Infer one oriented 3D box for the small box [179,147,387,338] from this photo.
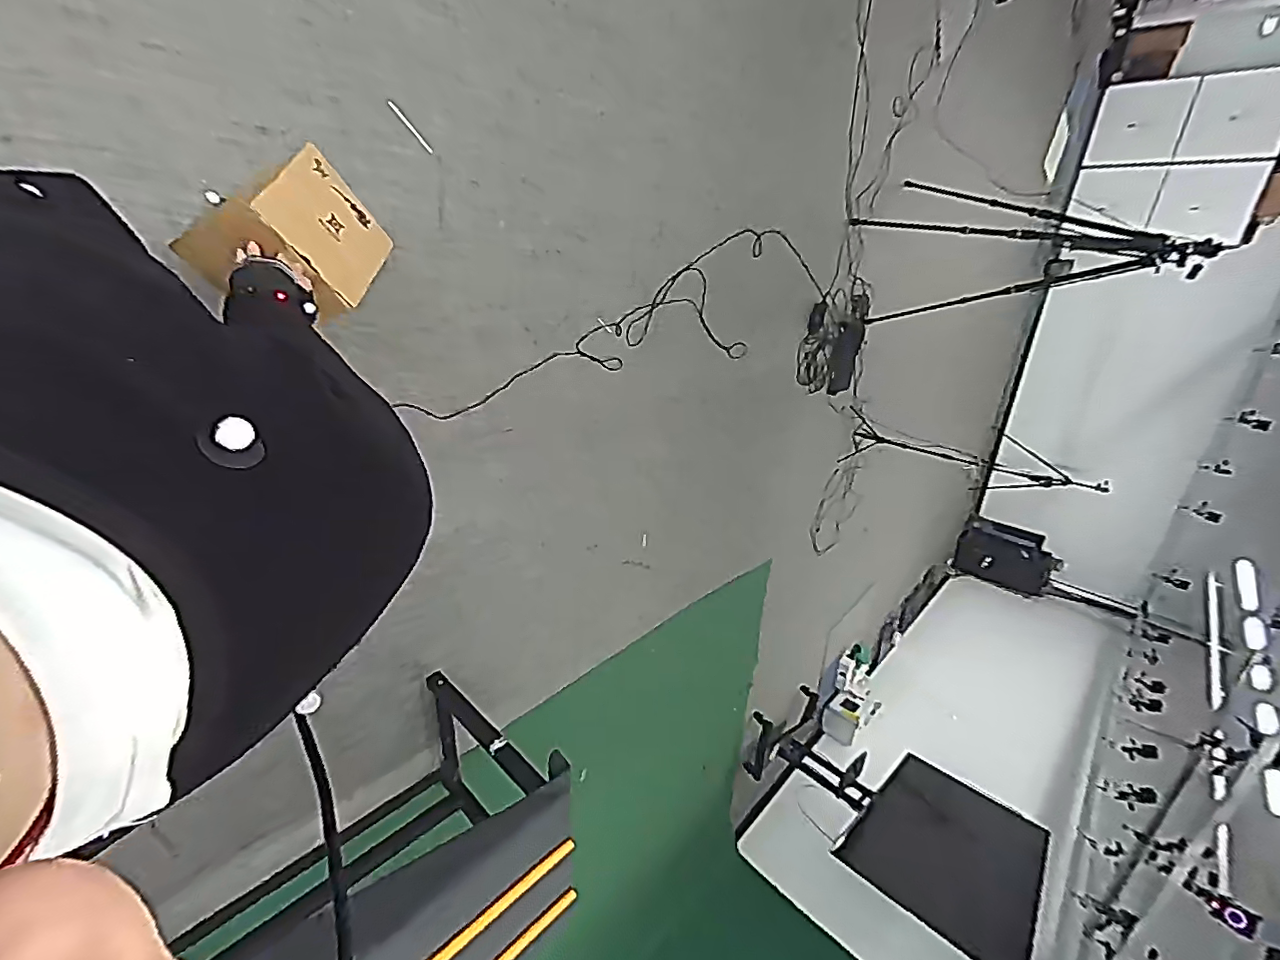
[{"bbox_3d":[-0.521,-0.339,0.797,0.168,0.176,0.179,52,33,-48],"label":"small box"}]
